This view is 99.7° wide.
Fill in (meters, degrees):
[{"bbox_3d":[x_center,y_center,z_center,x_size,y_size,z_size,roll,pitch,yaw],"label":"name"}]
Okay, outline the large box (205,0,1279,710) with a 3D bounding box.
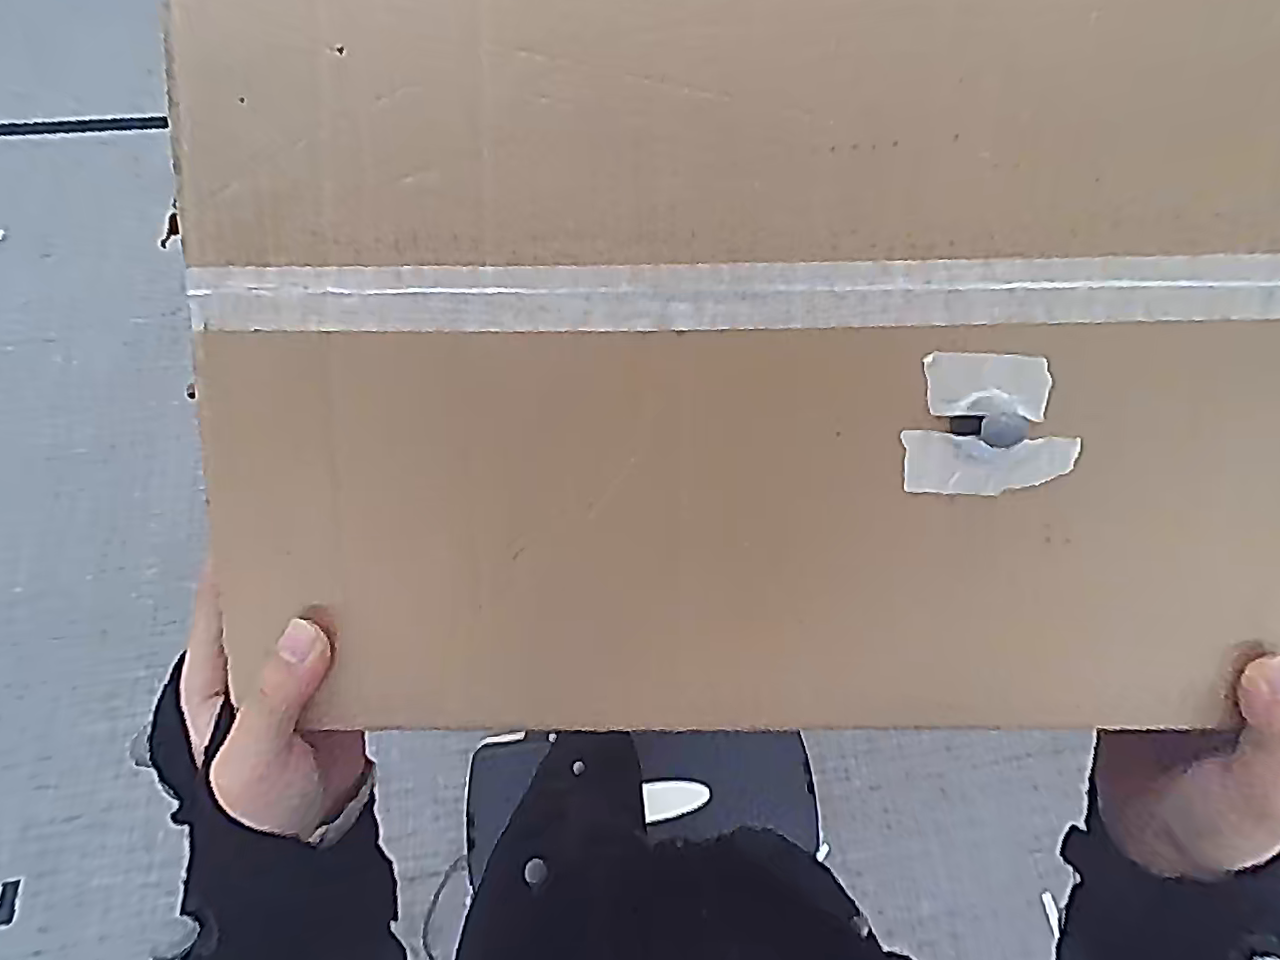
[{"bbox_3d":[0.046,-0.081,0.347,0.408,0.320,0.320,-1,96,-1],"label":"large box"}]
